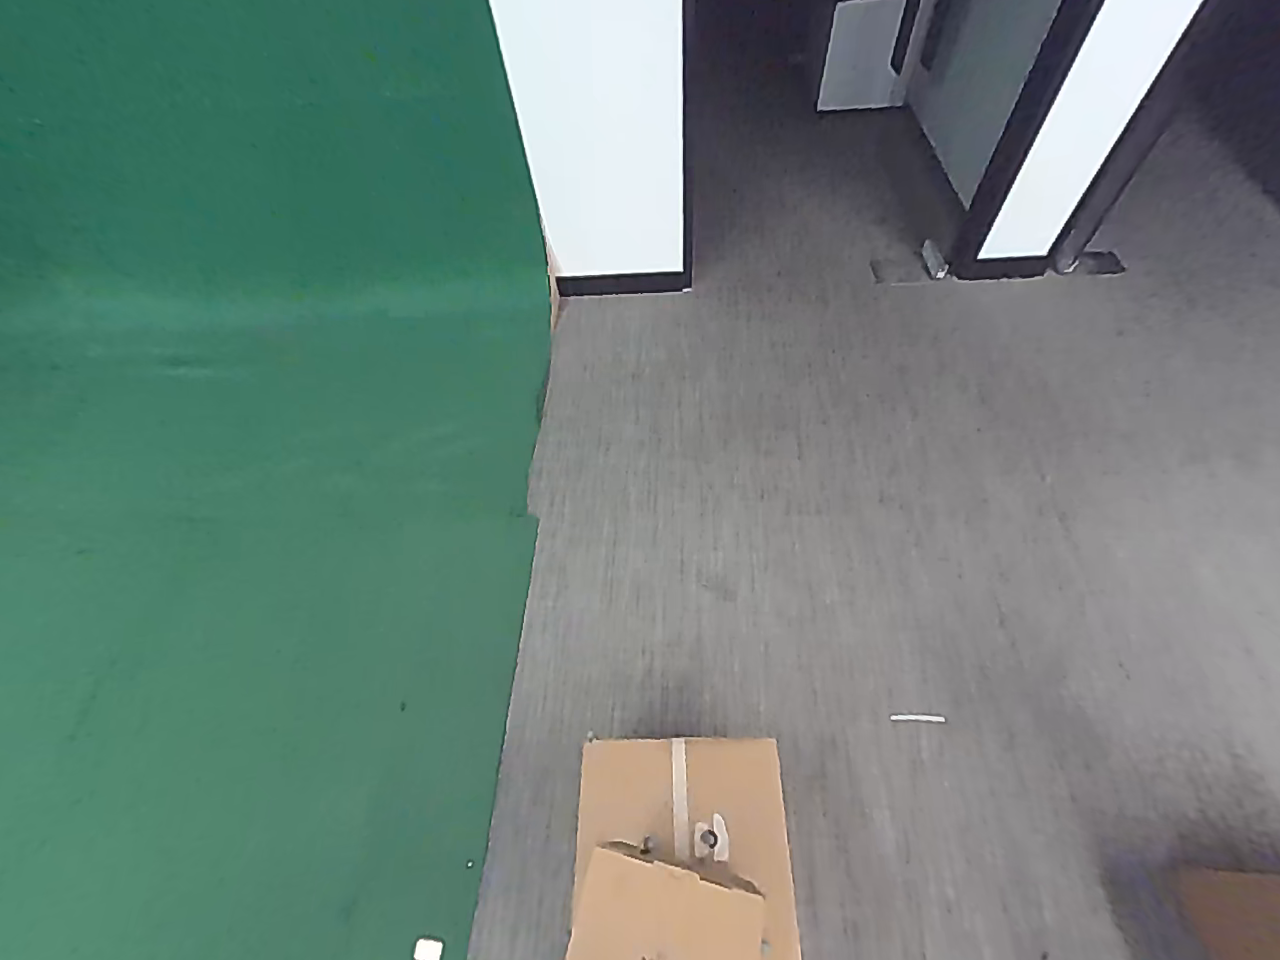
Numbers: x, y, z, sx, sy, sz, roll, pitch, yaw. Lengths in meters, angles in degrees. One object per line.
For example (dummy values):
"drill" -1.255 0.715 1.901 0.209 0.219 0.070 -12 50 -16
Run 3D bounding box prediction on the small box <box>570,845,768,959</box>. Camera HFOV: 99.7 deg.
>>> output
"small box" 0.023 0.481 0.527 0.168 0.176 0.179 9 59 13

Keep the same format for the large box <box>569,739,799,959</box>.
"large box" 0.072 0.672 0.885 0.320 0.320 0.408 -2 55 4
